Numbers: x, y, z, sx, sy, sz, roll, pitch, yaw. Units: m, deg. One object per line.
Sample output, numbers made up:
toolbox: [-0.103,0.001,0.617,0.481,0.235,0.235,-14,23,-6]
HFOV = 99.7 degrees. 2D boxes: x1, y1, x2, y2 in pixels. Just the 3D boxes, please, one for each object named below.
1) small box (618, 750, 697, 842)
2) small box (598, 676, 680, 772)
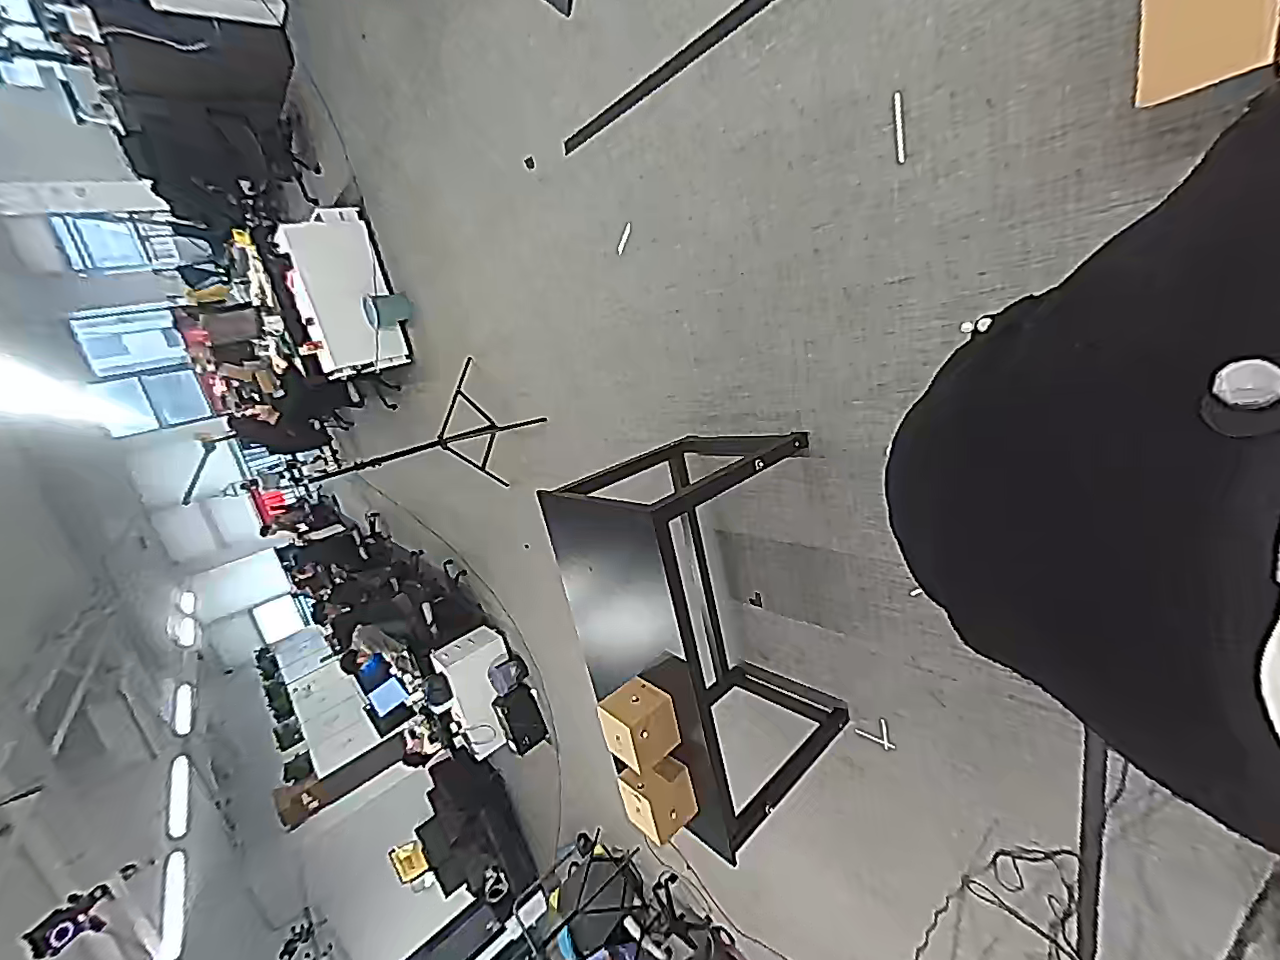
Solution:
small box: [0.061,0.992,1.729,0.168,0.176,0.179,3,113,52]
small box: [0.000,0.736,1.656,0.168,0.176,0.179,9,117,51]
